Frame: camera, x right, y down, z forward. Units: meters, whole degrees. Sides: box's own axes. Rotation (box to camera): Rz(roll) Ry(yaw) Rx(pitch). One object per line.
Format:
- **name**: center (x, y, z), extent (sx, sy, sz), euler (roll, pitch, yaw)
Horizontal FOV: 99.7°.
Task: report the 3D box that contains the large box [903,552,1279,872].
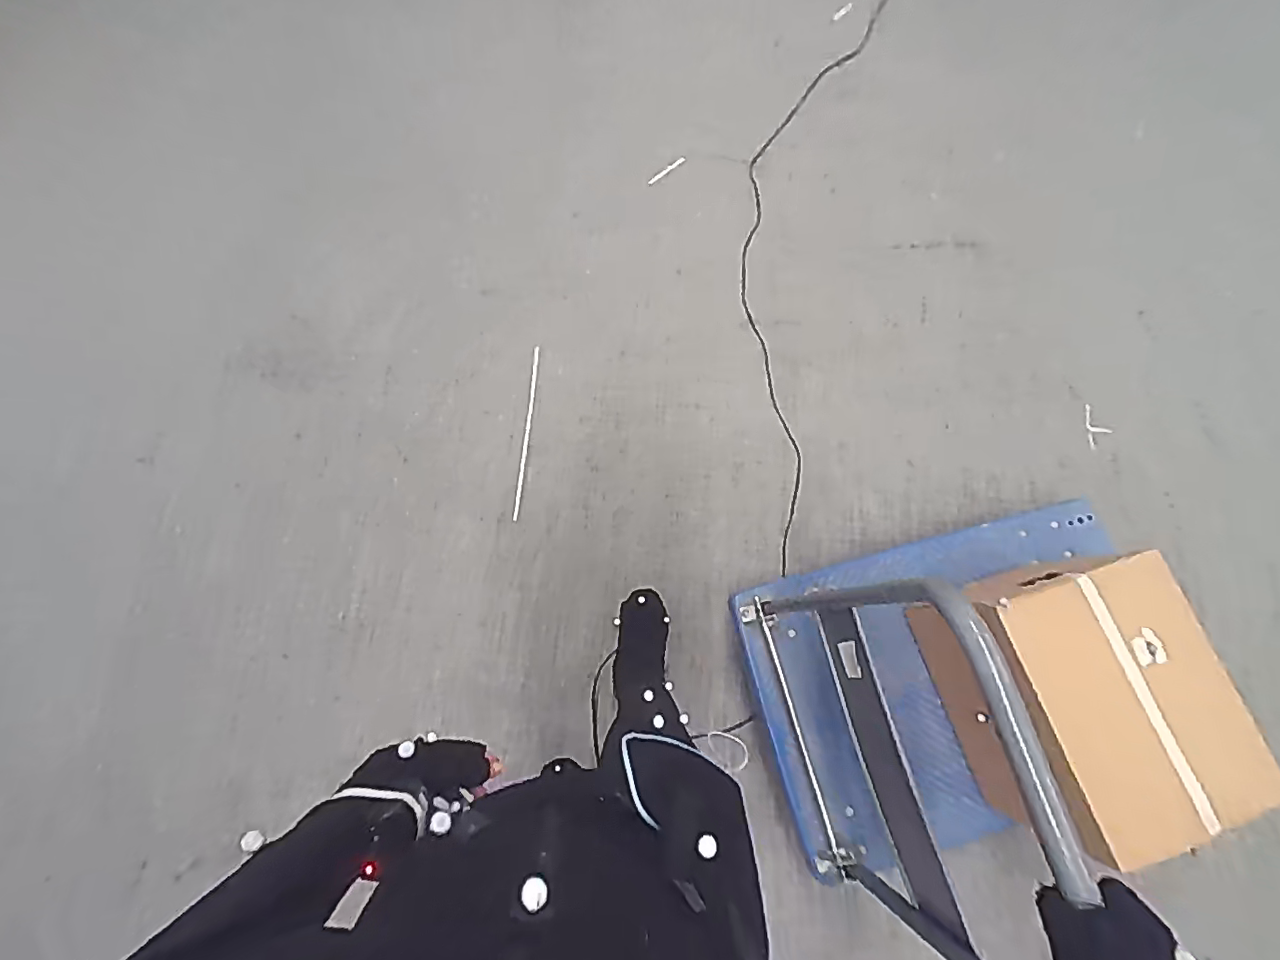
- **large box**: center (0.769, 0.385, 0.989), extent (0.320, 0.320, 0.408), euler (-17, 76, -7)
